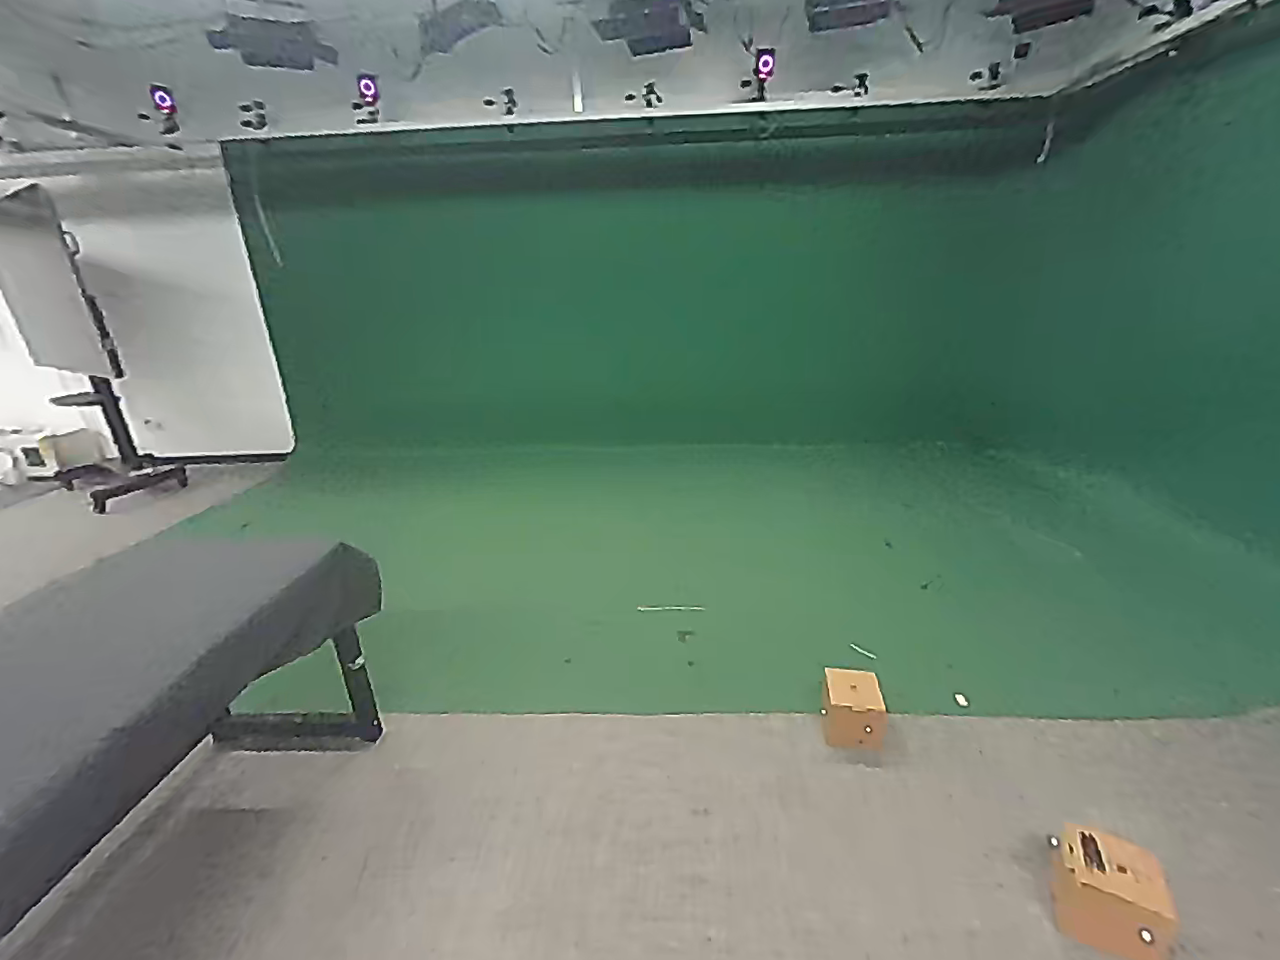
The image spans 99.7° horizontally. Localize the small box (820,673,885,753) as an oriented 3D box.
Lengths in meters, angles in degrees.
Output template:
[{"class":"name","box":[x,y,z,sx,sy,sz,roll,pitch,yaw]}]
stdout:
[{"class":"small box","box":[0.698,0.771,1.789,0.168,0.176,0.179,3,20,10]}]
